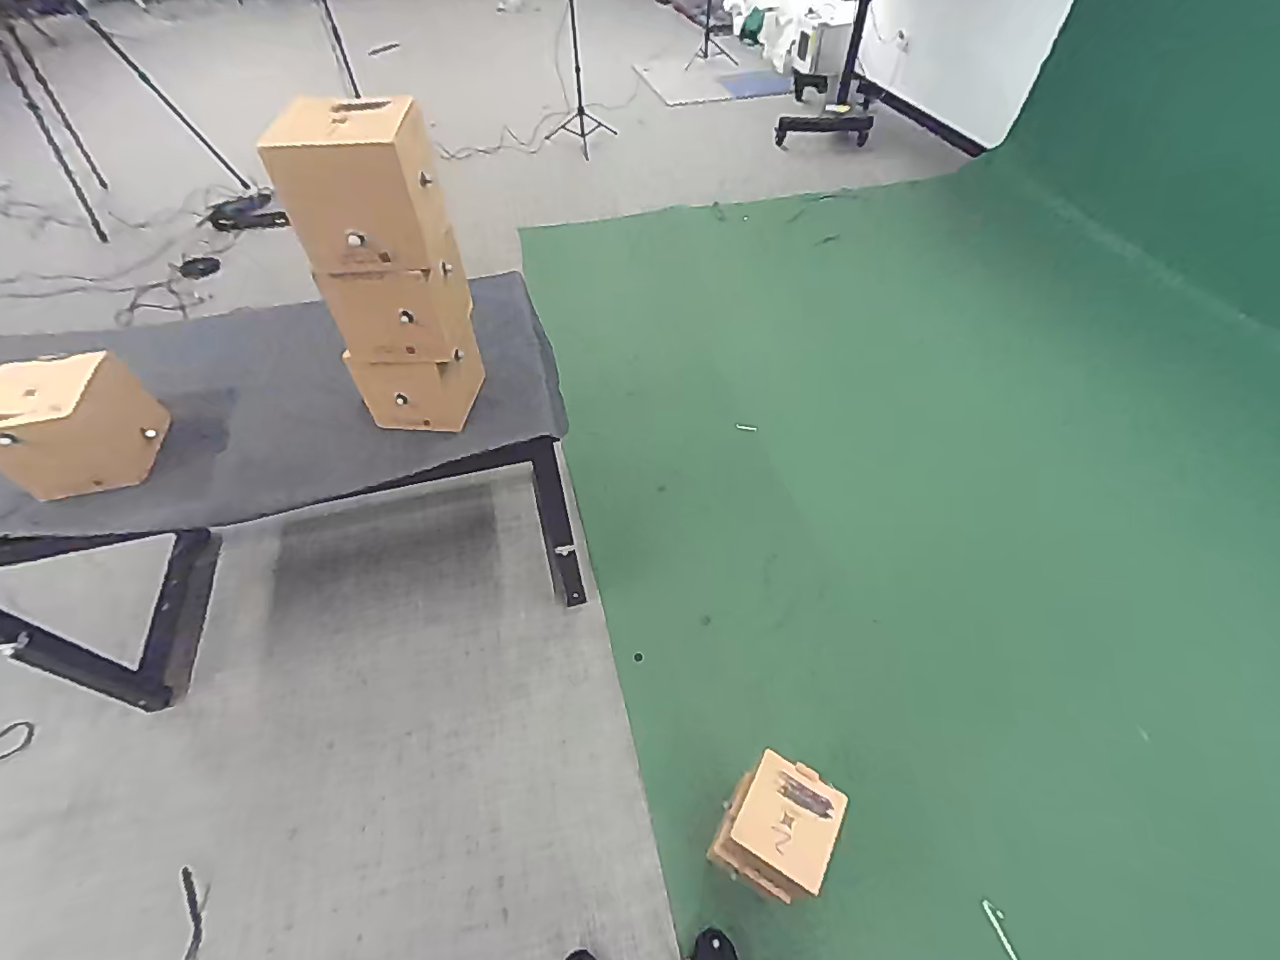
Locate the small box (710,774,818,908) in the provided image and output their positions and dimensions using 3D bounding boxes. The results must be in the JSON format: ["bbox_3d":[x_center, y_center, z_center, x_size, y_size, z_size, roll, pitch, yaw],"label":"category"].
[{"bbox_3d":[0.259,0.776,1.159,0.168,0.176,0.179,24,55,20],"label":"small box"}]

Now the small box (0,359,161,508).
[{"bbox_3d":[-0.986,-0.080,0.933,0.168,0.176,0.179,-13,51,-9],"label":"small box"}]

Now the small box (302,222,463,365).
[{"bbox_3d":[-0.404,-0.303,0.889,0.168,0.176,0.179,0,49,0],"label":"small box"}]

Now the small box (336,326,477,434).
[{"bbox_3d":[-0.422,-0.203,1.016,0.168,0.176,0.179,3,49,4],"label":"small box"}]

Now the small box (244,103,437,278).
[{"bbox_3d":[-0.398,-0.405,0.760,0.168,0.176,0.179,-5,50,-3],"label":"small box"}]
